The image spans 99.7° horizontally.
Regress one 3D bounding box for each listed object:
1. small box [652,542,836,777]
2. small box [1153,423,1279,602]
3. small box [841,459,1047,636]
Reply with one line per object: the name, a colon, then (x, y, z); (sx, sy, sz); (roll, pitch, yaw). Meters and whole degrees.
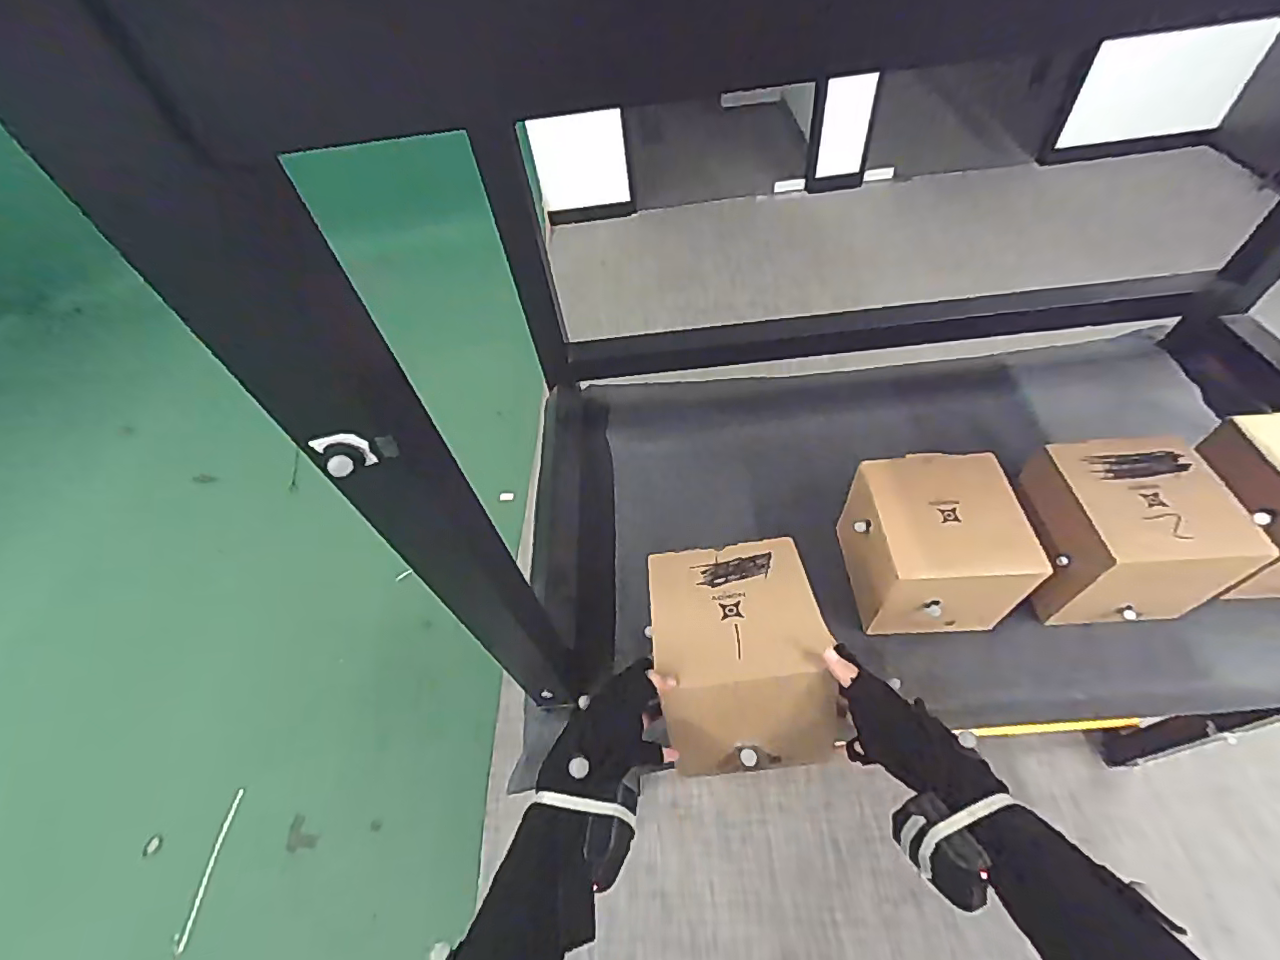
small box: (0.105, 0.194, 0.595); (0.168, 0.176, 0.179); (-8, 36, 5)
small box: (0.824, 0.046, 0.681); (0.168, 0.176, 0.179); (-2, 51, 6)
small box: (0.375, 0.096, 0.708); (0.168, 0.176, 0.179); (-4, 51, 6)
